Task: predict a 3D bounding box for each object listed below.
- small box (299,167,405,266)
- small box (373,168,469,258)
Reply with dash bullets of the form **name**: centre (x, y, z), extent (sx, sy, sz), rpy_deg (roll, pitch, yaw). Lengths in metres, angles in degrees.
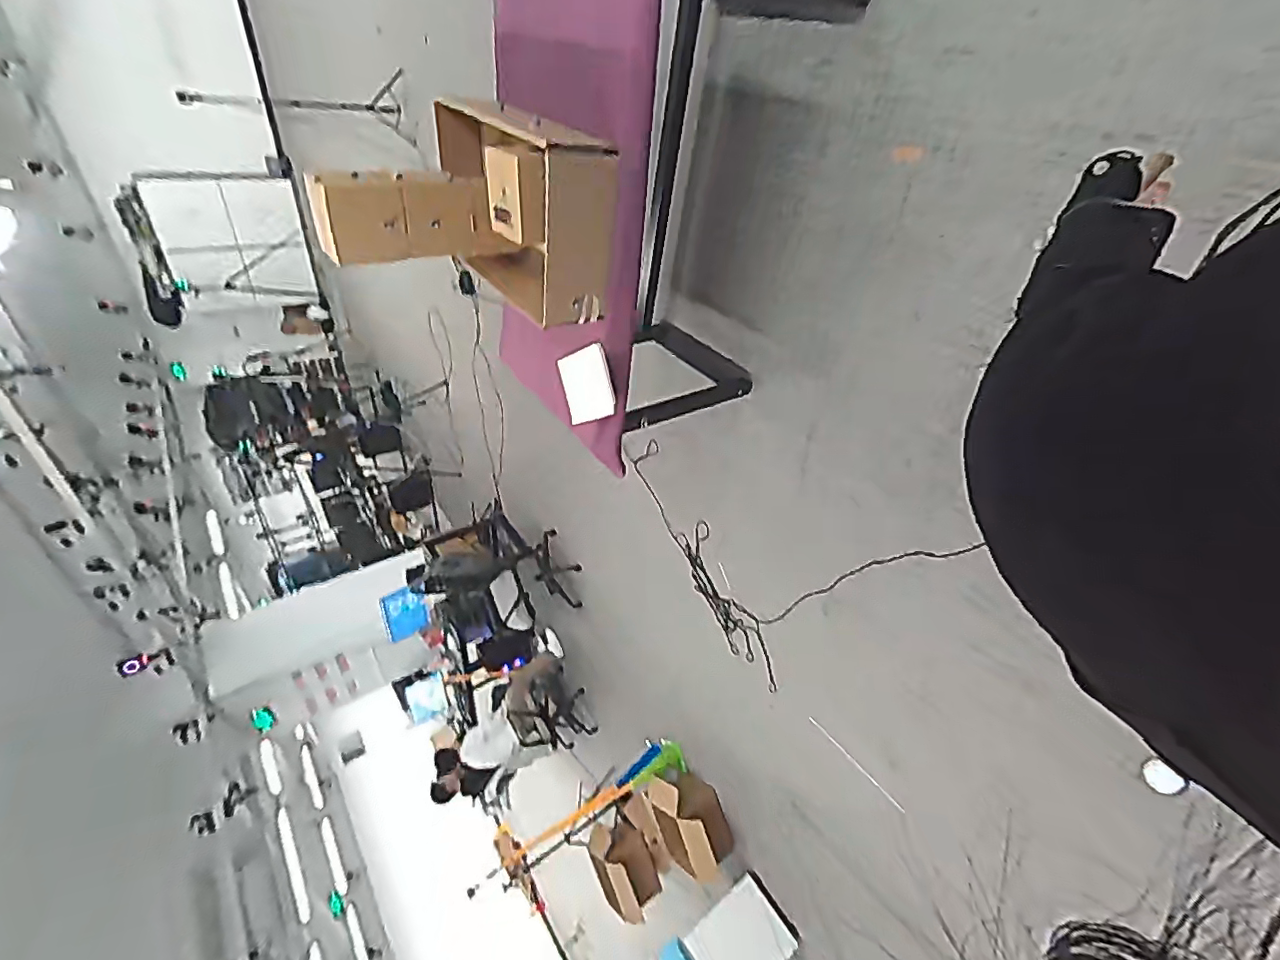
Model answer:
- **small box**: centre (-0.688, -0.637, 1.304), extent (0.168, 0.176, 0.179), rpy_deg (42, 138, 34)
- **small box**: centre (-0.558, -0.690, 1.389), extent (0.168, 0.176, 0.179), rpy_deg (40, 138, 36)
